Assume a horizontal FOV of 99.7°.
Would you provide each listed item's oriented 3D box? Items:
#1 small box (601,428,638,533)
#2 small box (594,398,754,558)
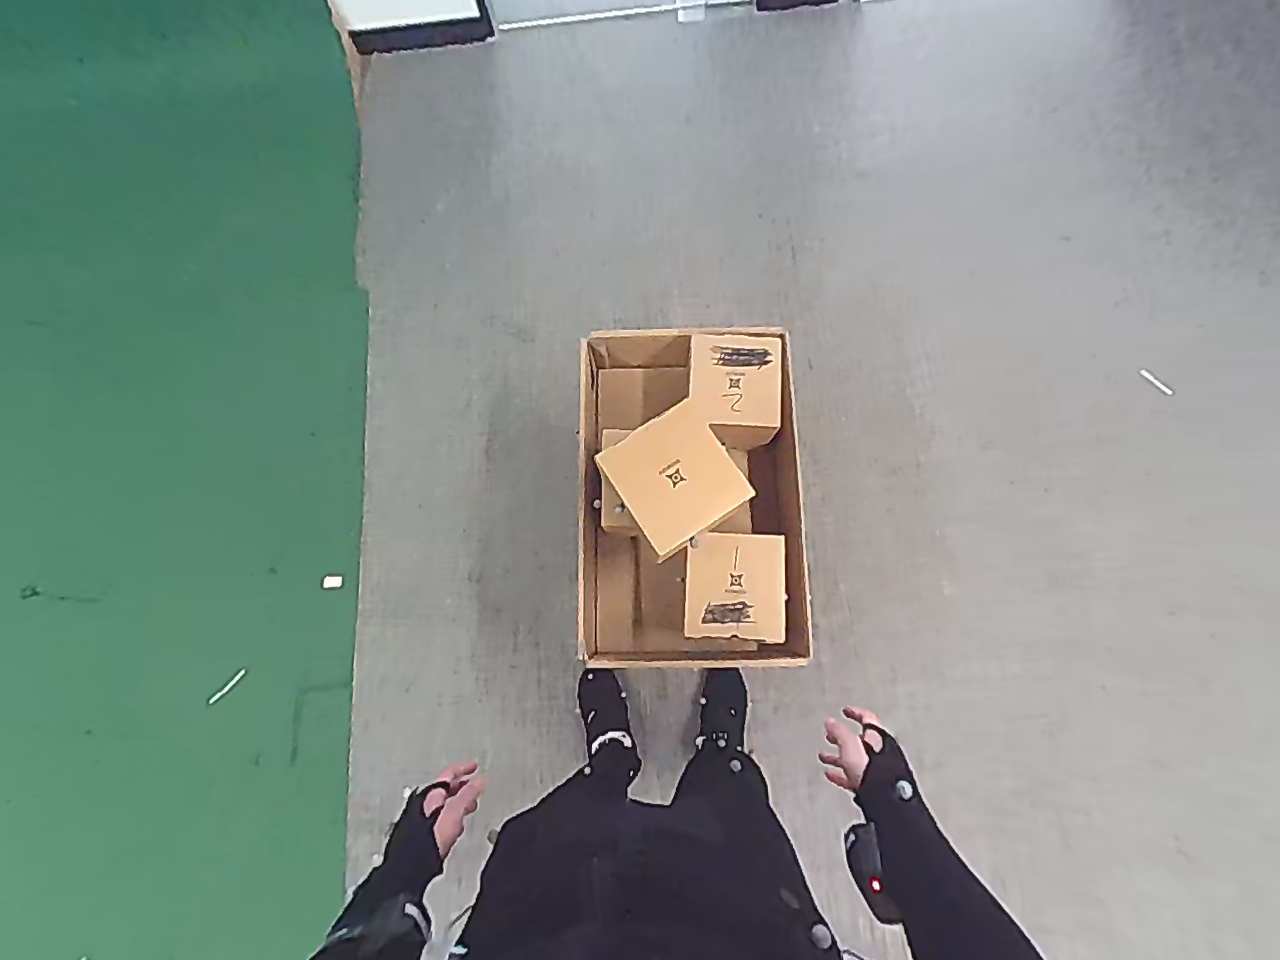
[{"bbox_3d":[0.019,0.008,1.010,0.168,0.176,0.179,0,78,1],"label":"small box"},{"bbox_3d":[0.051,0.008,0.842,0.168,0.176,0.179,-33,78,-5],"label":"small box"}]
